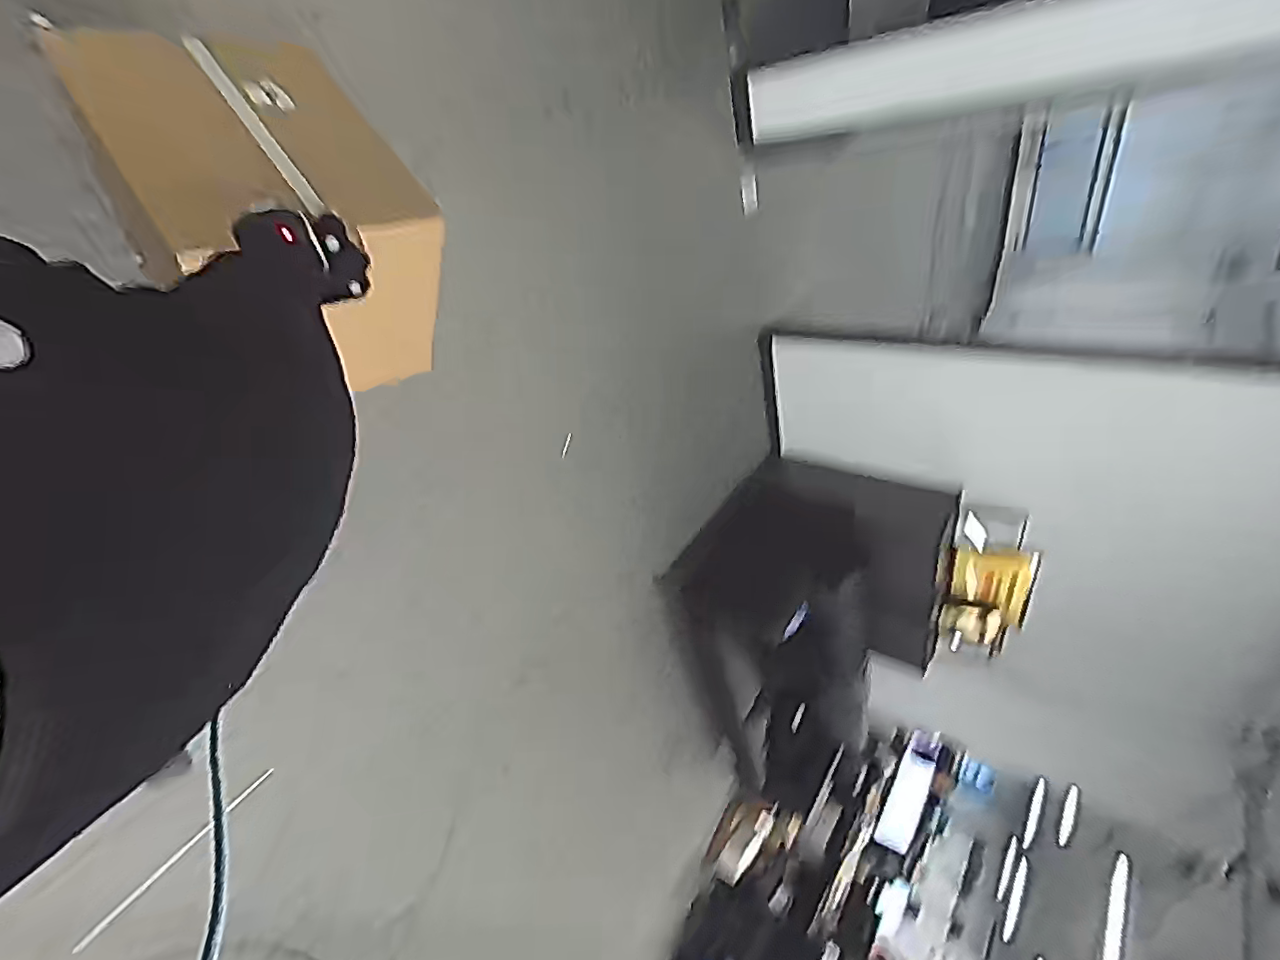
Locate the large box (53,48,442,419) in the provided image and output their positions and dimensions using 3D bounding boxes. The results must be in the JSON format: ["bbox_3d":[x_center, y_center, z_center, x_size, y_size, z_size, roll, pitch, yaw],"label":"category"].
[{"bbox_3d":[-0.556,-0.371,0.833,0.320,0.408,0.320,-29,163,-37],"label":"large box"}]
